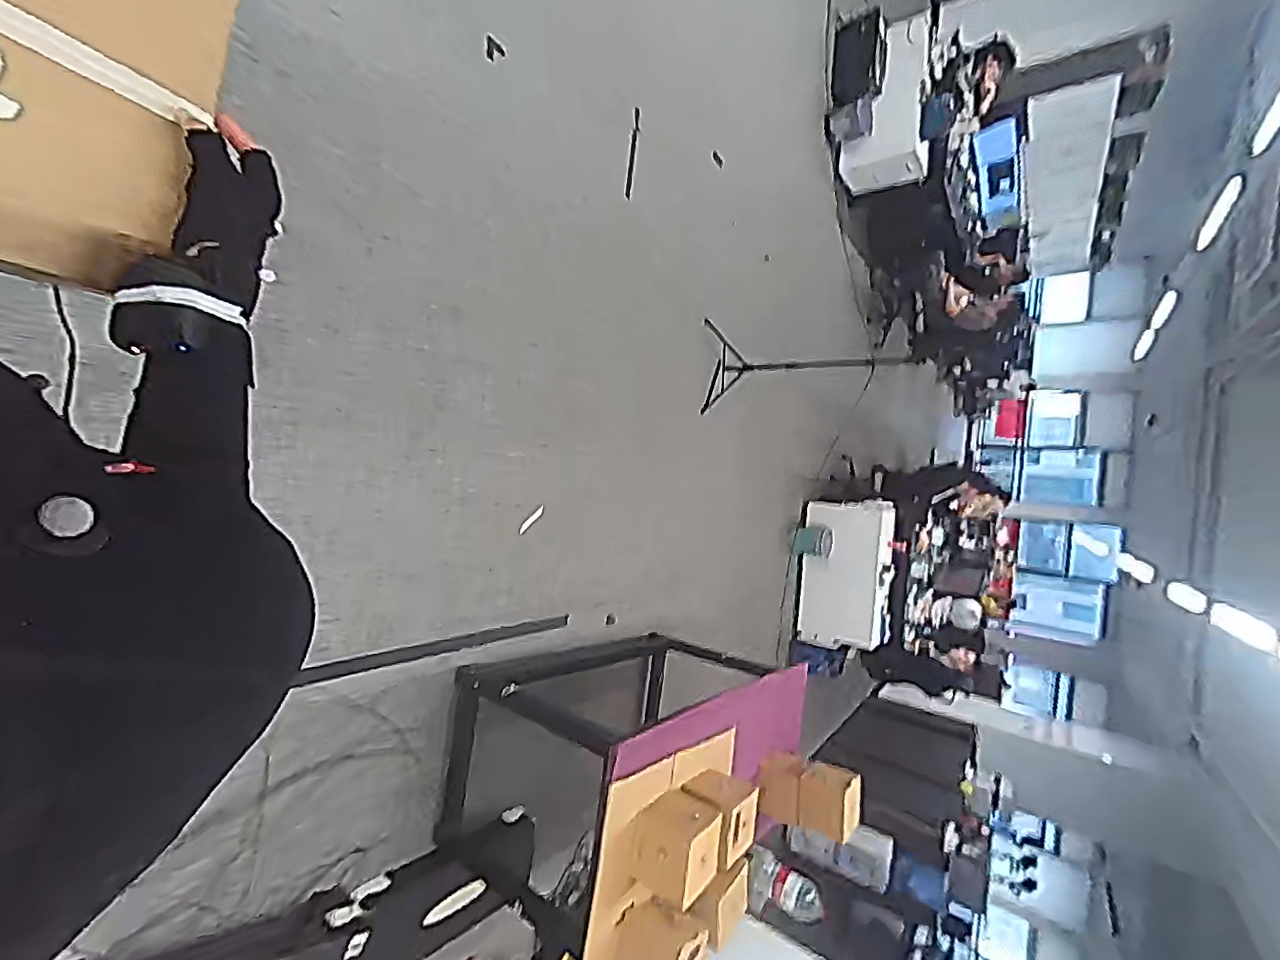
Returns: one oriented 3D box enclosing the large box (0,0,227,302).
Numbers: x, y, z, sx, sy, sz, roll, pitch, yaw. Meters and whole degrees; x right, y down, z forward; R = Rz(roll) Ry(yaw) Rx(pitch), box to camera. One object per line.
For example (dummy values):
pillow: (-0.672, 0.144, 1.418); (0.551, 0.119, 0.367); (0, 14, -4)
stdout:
large box: (-0.608, -0.351, 0.374); (0.408, 0.320, 0.320); (10, 96, -60)
